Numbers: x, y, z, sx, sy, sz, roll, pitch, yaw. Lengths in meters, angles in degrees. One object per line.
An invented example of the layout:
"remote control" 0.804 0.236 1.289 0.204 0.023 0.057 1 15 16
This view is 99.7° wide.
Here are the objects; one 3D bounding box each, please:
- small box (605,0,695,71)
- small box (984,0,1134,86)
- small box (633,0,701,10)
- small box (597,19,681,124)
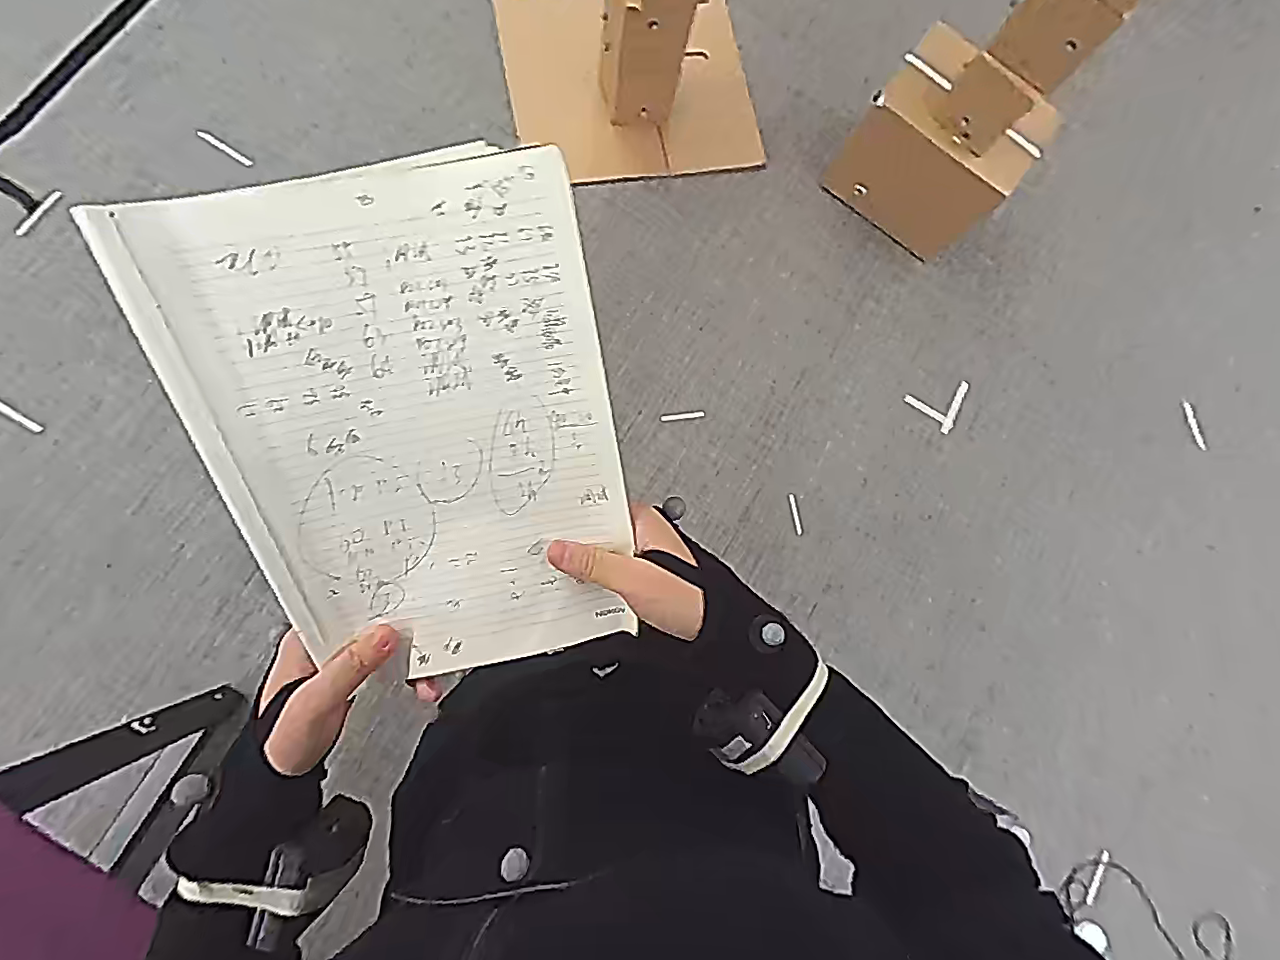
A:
"small box" 0.015 -1.129 1.305 0.179 0.176 0.168 -12 84 -11
"small box" 0.850 -0.945 1.085 0.179 0.176 0.168 34 78 0
"small box" 0.058 -1.153 1.149 0.179 0.176 0.168 -19 85 -12
"small box" -0.009 -1.105 1.466 0.179 0.176 0.168 -13 84 -11
